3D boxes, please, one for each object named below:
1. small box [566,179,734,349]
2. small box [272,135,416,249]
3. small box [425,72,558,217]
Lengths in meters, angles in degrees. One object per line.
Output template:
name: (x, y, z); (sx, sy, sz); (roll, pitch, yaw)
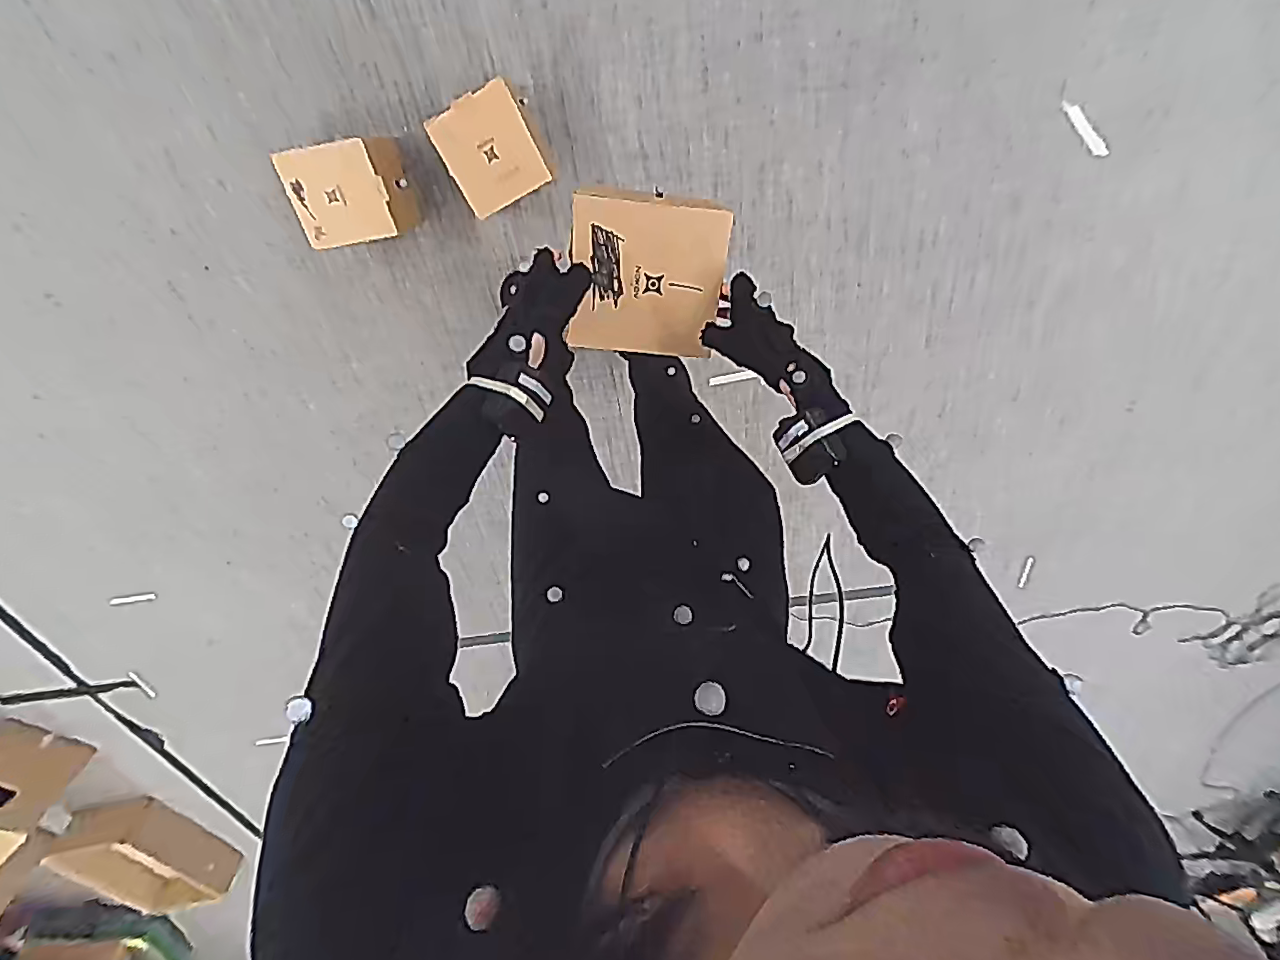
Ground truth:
small box: (0.007, -0.275, 0.676); (0.179, 0.176, 0.168); (4, 121, -3)
small box: (-0.561, -0.569, 1.062); (0.179, 0.176, 0.168); (-9, 123, 2)
small box: (-0.272, -0.636, 1.035); (0.168, 0.176, 0.179); (-23, 122, 13)
